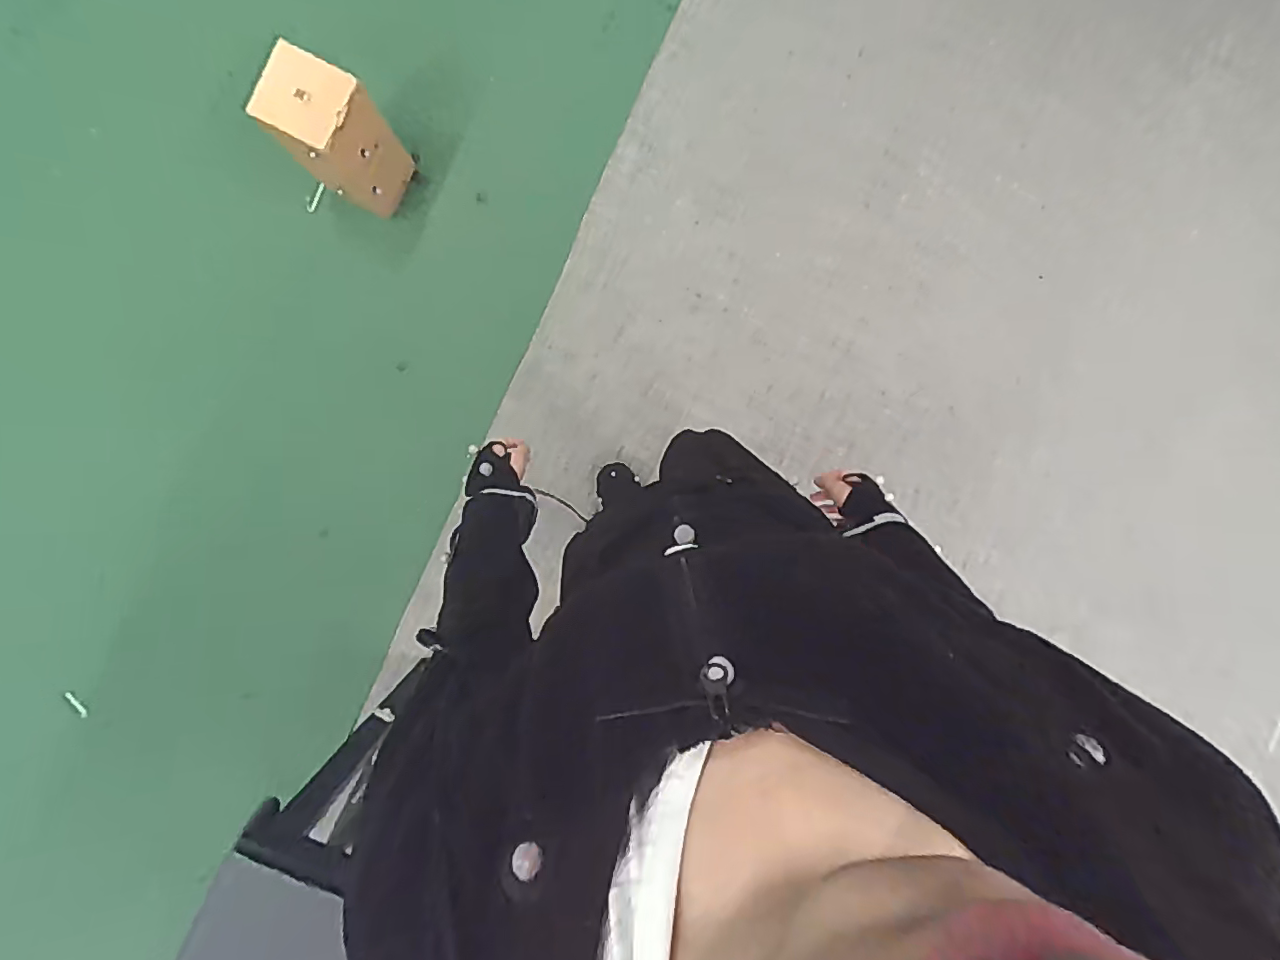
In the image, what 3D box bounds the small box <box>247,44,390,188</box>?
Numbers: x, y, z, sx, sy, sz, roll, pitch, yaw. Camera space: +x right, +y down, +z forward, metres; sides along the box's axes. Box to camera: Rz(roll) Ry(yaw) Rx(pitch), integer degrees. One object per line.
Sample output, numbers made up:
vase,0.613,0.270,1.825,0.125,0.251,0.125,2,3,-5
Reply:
small box,-0.688,-0.778,1.178,0.179,0.176,0.168,25,91,-3
